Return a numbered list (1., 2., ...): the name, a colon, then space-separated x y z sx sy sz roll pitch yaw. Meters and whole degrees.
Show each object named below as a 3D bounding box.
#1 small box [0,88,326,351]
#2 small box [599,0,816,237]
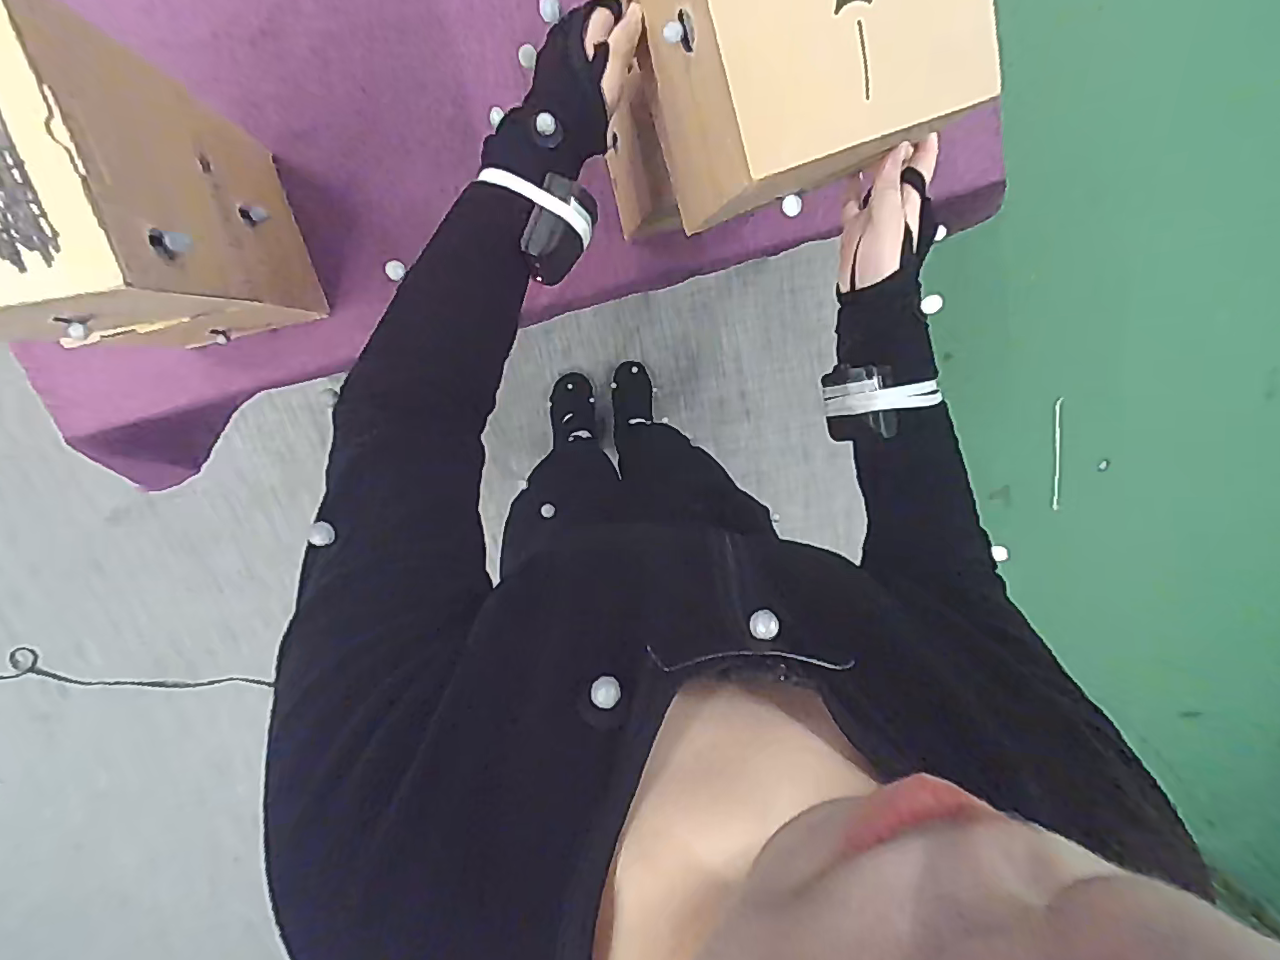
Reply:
1. small box: -0.441 -0.228 0.518 0.168 0.176 0.179 -16 107 -6
2. small box: 0.058 -0.371 0.571 0.179 0.176 0.168 -16 107 -6
